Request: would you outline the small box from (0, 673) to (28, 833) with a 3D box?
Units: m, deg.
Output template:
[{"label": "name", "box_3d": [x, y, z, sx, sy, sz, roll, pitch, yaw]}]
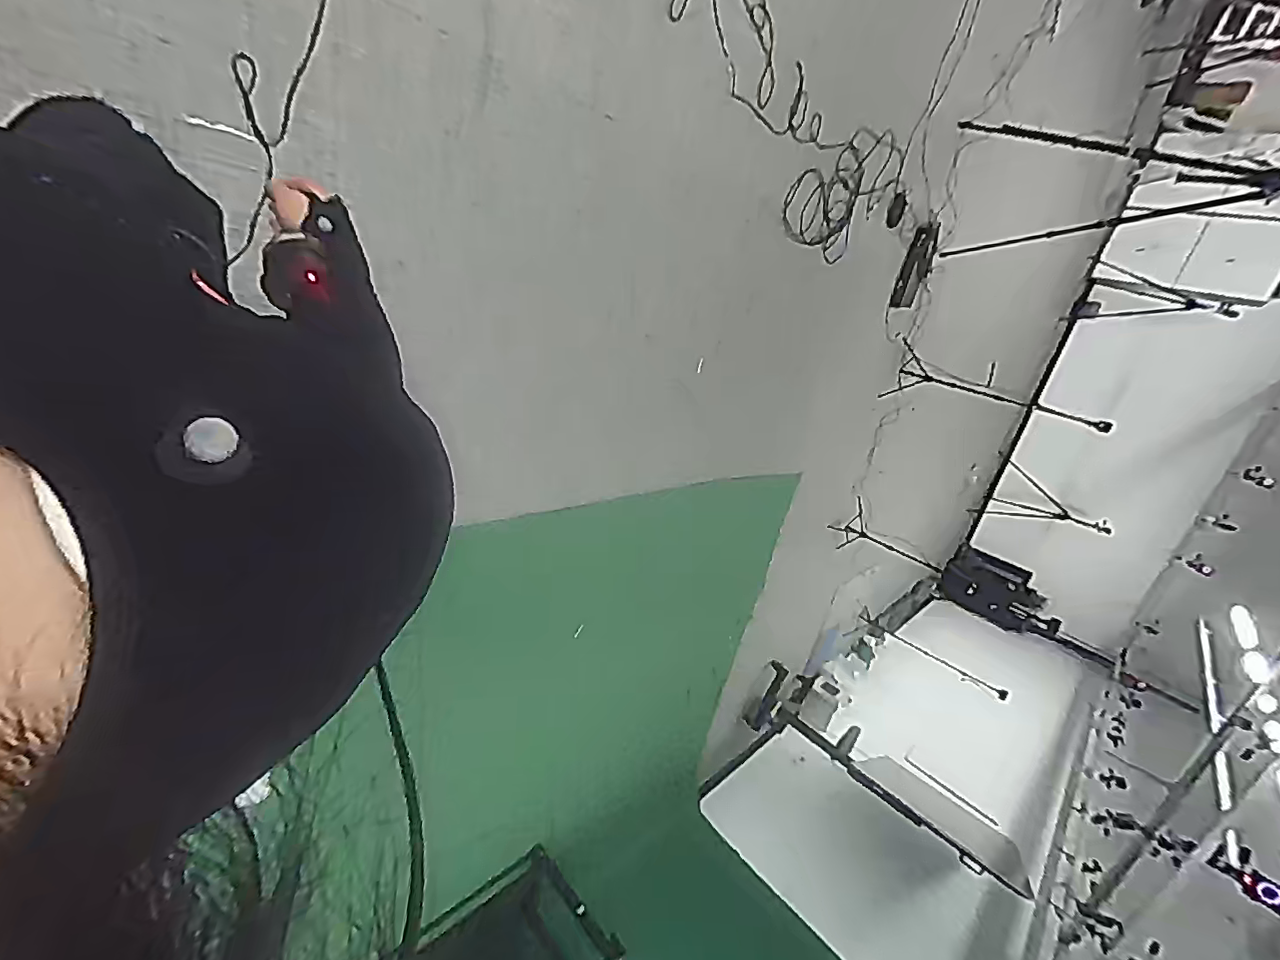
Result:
[{"label": "small box", "box_3d": [-1.024, 0.418, 0.786, 0.168, 0.176, 0.179, -8, 118, -46]}]

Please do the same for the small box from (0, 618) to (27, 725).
[{"label": "small box", "box_3d": [-1.137, 0.358, 0.889, 0.168, 0.176, 0.179, -4, 113, -48]}]
